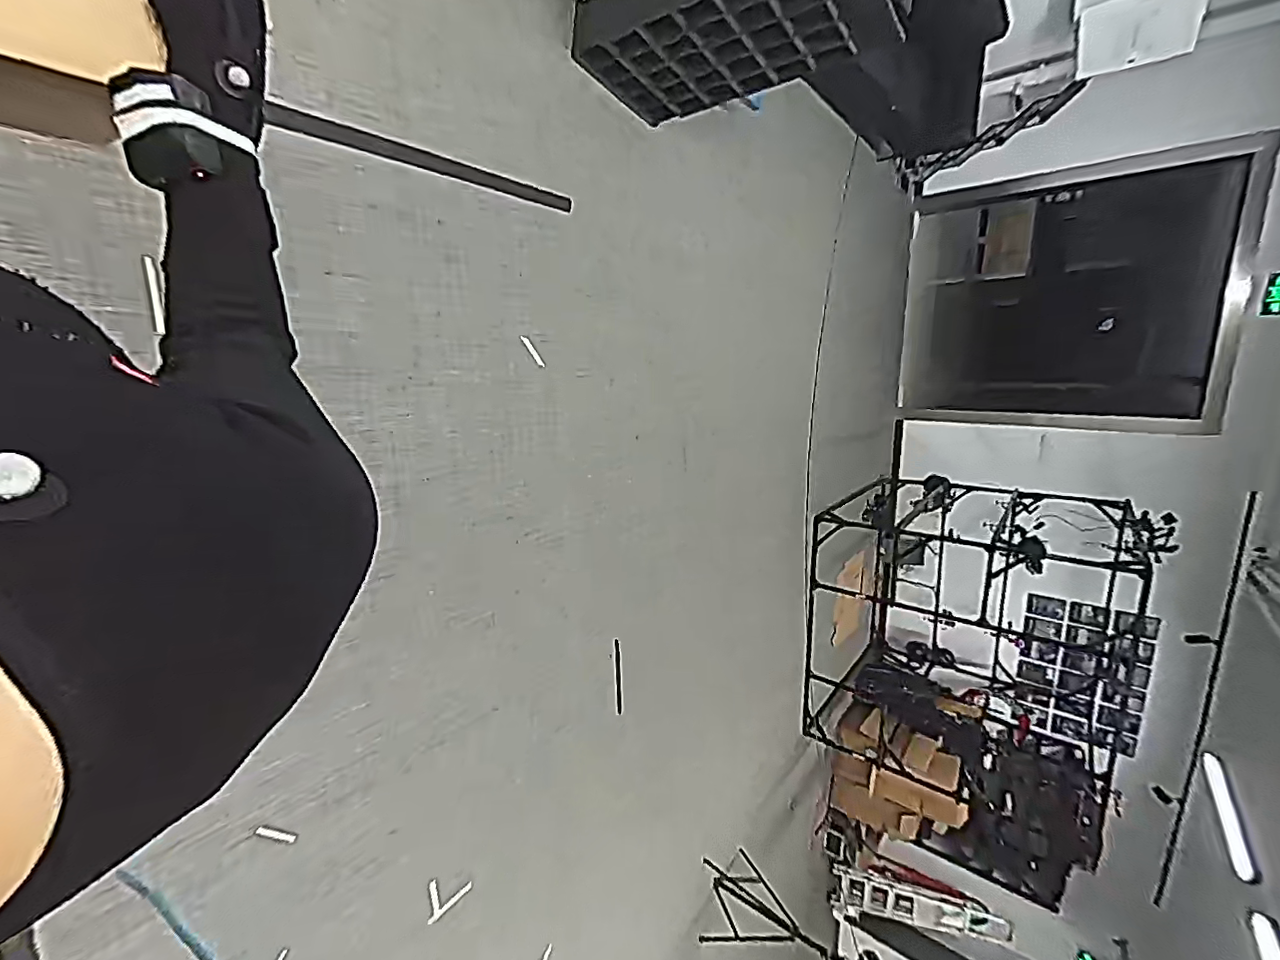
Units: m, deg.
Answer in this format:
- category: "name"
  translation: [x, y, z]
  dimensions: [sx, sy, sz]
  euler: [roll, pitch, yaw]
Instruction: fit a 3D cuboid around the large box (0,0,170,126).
- category: "large box"
  translation: [-0.581, -0.447, 0.301]
  dimensions: [0.408, 0.320, 0.320]
  euler: [-15, 118, -49]
